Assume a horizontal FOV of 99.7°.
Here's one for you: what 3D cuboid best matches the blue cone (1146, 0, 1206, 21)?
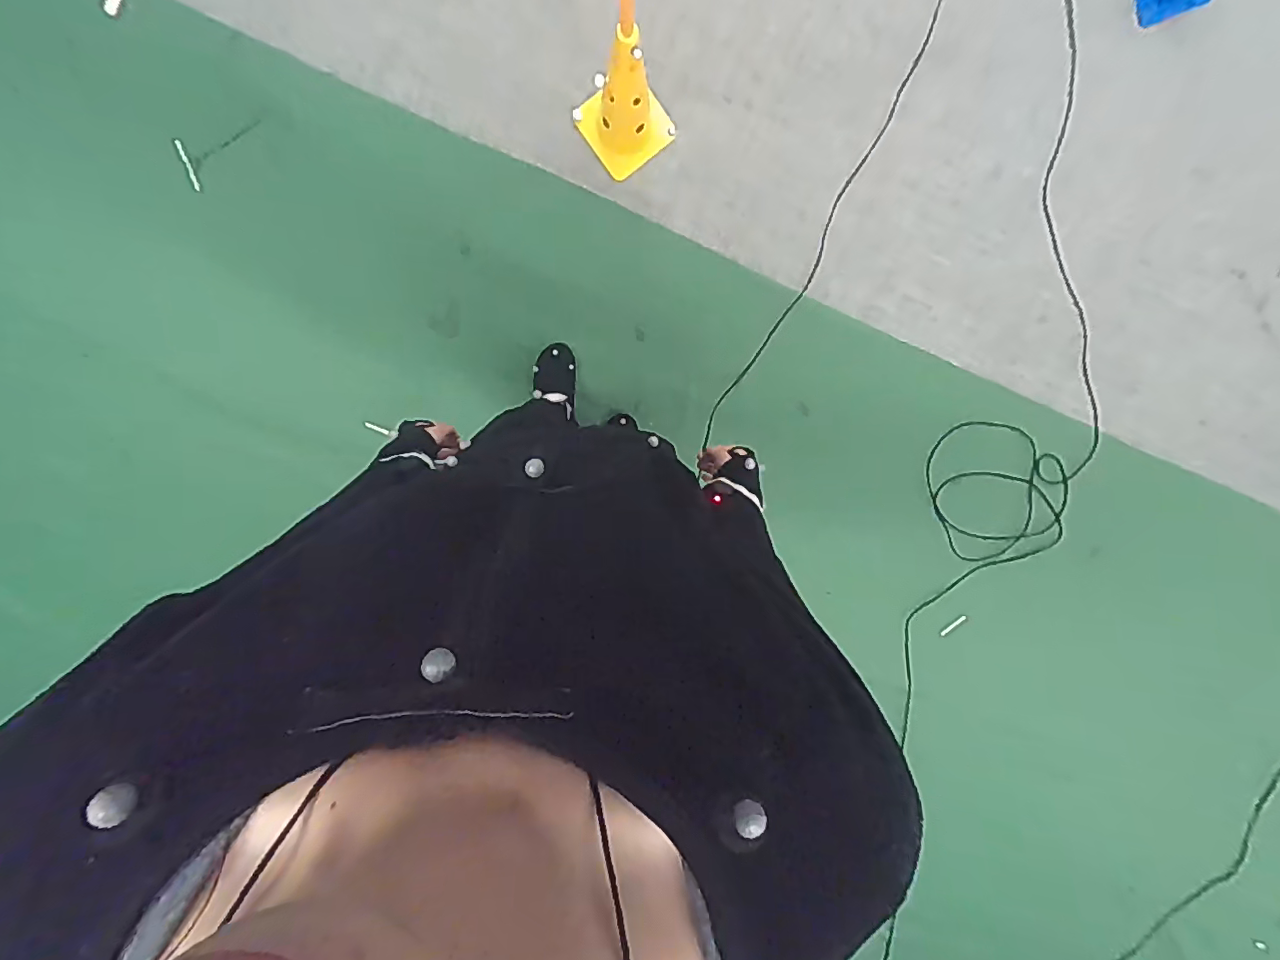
[{"bbox_3d":[1.359,-1.261,1.195,0.193,0.380,0.192,-23,98,-2],"label":"blue cone"}]
